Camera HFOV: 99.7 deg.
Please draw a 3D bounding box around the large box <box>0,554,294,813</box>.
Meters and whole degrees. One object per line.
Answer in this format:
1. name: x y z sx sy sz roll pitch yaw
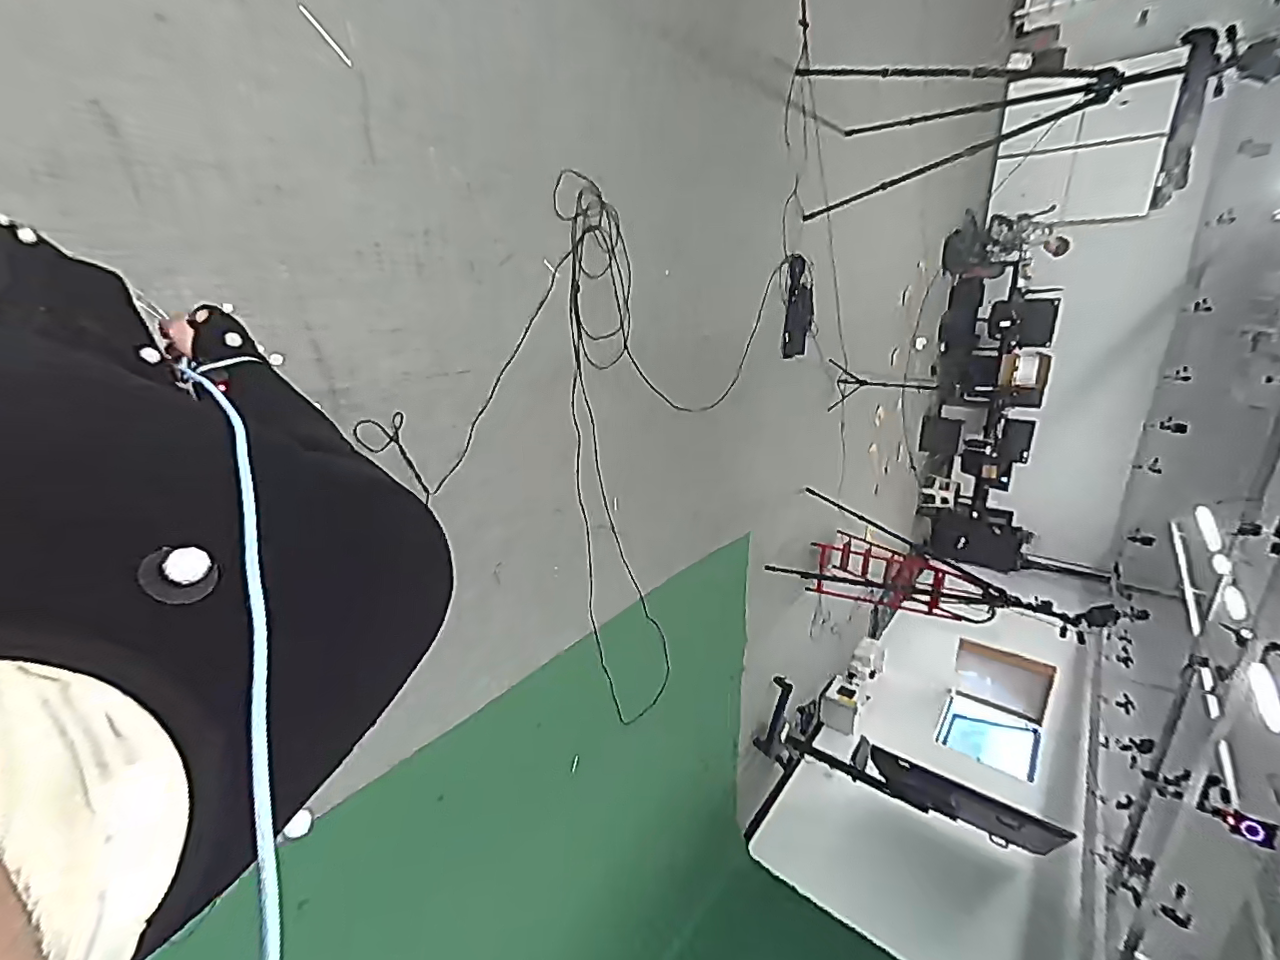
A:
1. large box: -1.096 0.418 1.227 0.408 0.320 0.320 -25 119 -44
